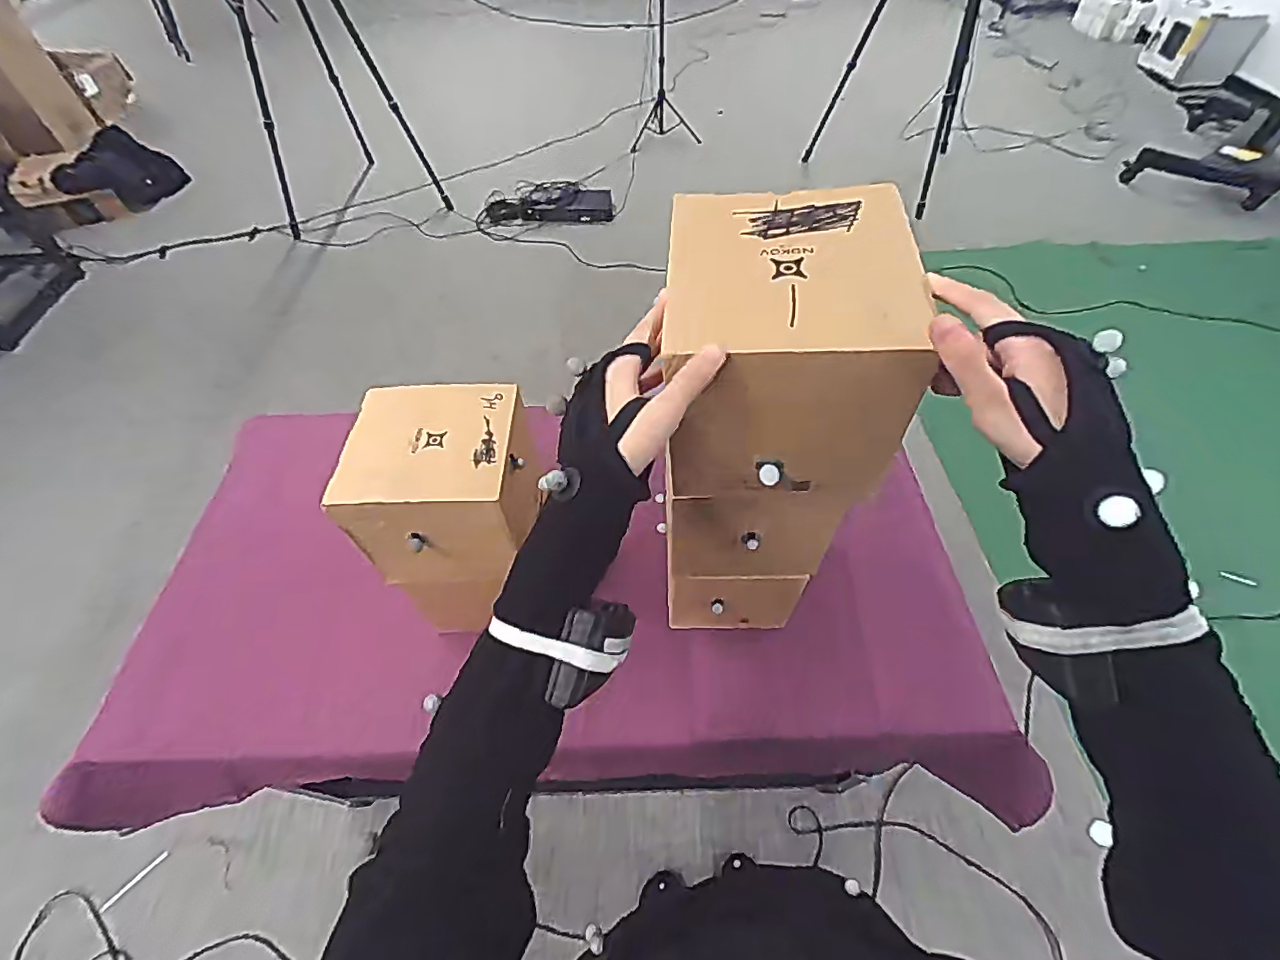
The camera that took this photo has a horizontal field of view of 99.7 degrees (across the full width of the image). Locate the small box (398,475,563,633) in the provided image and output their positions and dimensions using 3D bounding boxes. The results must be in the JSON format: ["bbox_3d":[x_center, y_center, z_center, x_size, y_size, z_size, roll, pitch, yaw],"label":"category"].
[{"bbox_3d":[-0.208,0.108,0.768,0.179,0.176,0.168,-2,52,1],"label":"small box"}]

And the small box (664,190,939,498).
[{"bbox_3d":[0.110,-0.104,0.439,0.168,0.176,0.179,0,57,8],"label":"small box"}]

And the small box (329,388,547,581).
[{"bbox_3d":[-0.217,0.010,0.637,0.179,0.176,0.168,-1,52,1],"label":"small box"}]

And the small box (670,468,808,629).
[{"bbox_3d":[0.127,0.100,0.762,0.168,0.176,0.179,-1,52,2],"label":"small box"}]
